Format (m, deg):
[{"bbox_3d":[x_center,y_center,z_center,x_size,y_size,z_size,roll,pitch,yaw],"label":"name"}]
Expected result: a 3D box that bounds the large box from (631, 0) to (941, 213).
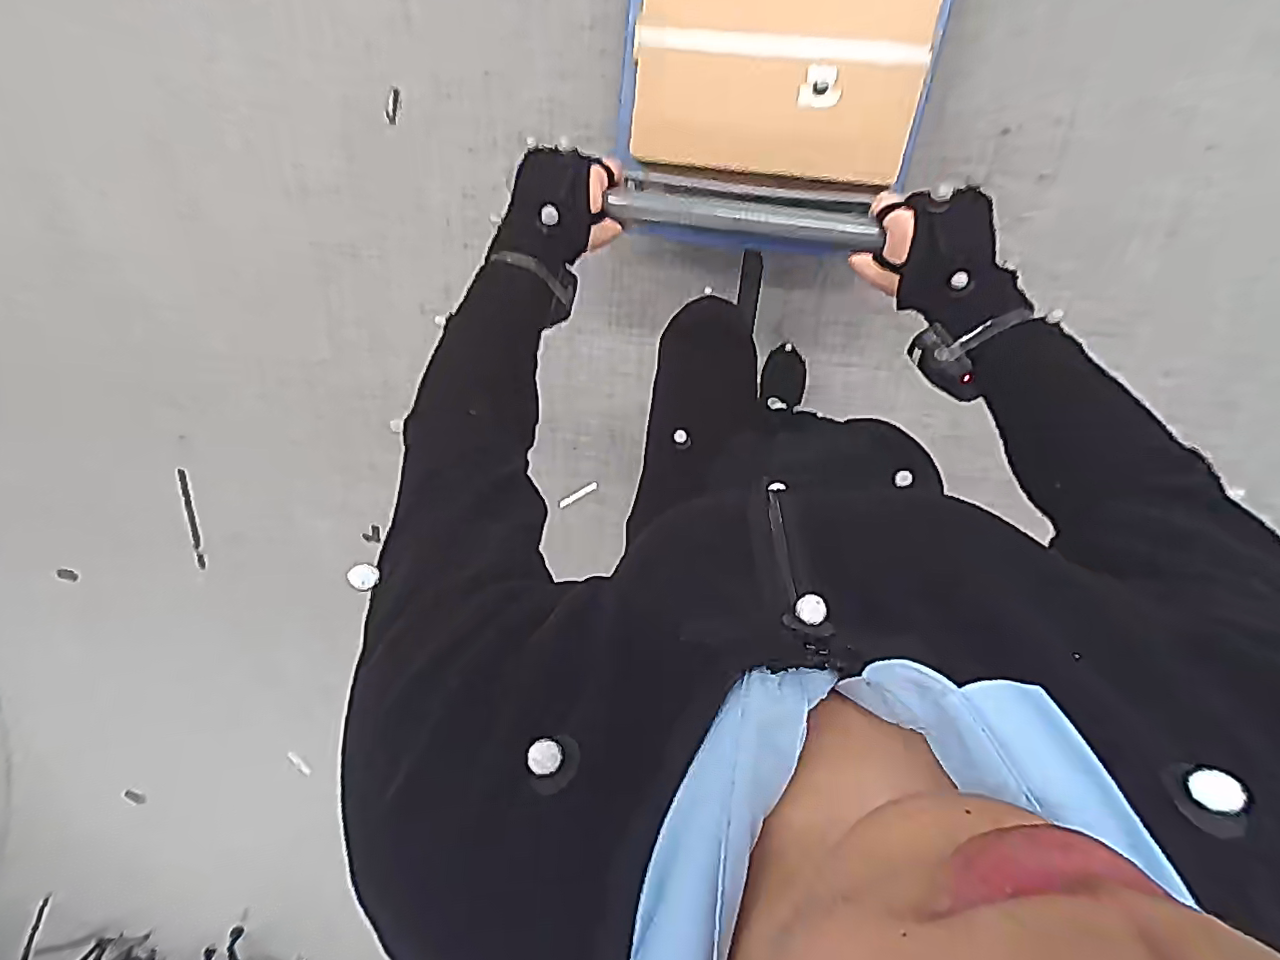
[{"bbox_3d":[0.218,-0.647,0.897,0.408,0.320,0.320,10,112,7],"label":"large box"}]
